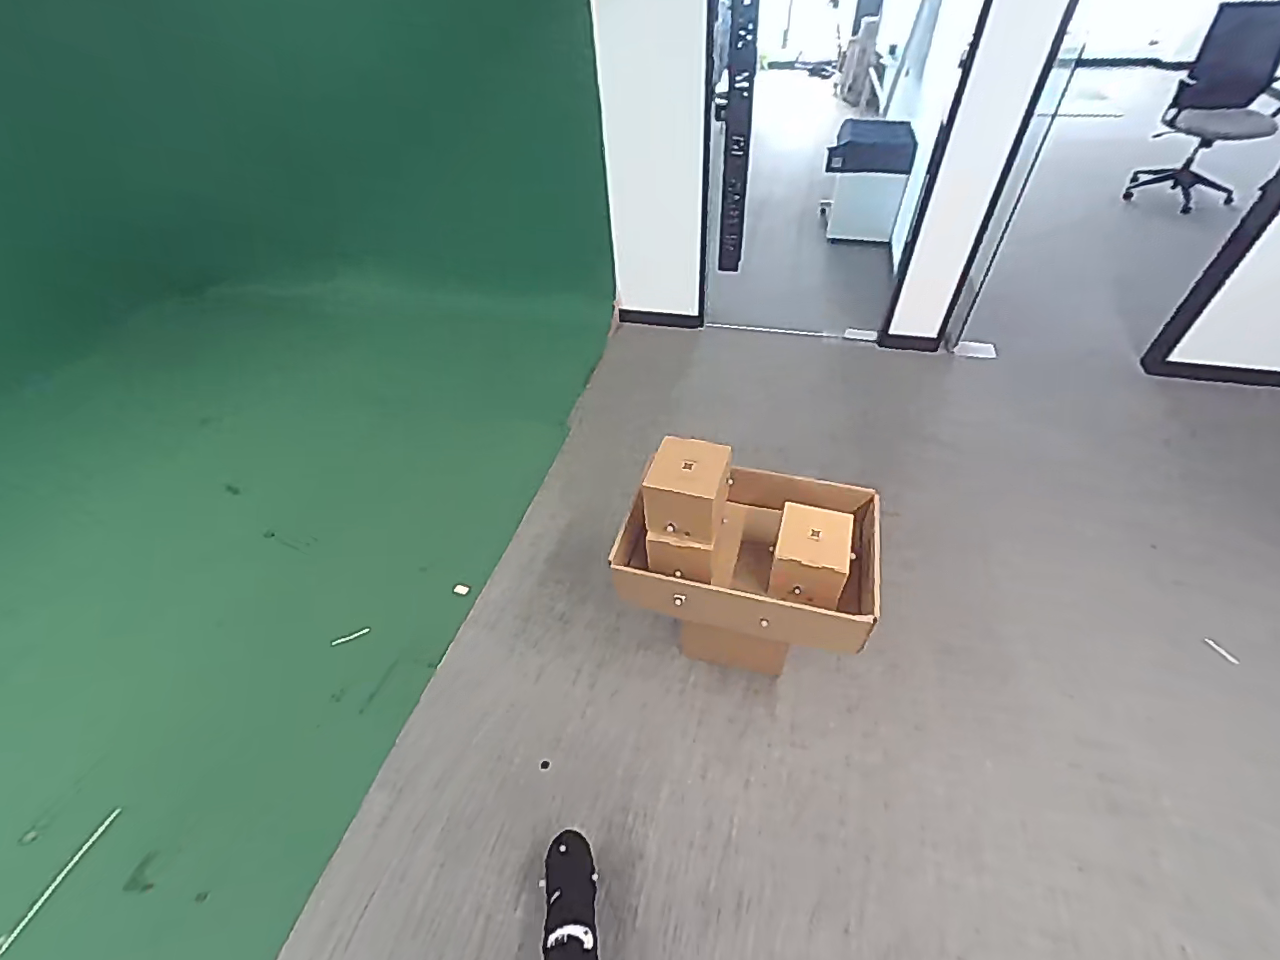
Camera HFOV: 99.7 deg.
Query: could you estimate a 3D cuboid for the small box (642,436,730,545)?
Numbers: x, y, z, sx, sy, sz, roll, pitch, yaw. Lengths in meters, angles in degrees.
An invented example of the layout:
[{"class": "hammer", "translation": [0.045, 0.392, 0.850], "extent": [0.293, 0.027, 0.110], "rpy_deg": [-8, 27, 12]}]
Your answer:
[{"class": "small box", "translation": [0.111, 0.025, 1.286], "extent": [0.168, 0.176, 0.179], "rpy_deg": [12, 48, 16]}]
